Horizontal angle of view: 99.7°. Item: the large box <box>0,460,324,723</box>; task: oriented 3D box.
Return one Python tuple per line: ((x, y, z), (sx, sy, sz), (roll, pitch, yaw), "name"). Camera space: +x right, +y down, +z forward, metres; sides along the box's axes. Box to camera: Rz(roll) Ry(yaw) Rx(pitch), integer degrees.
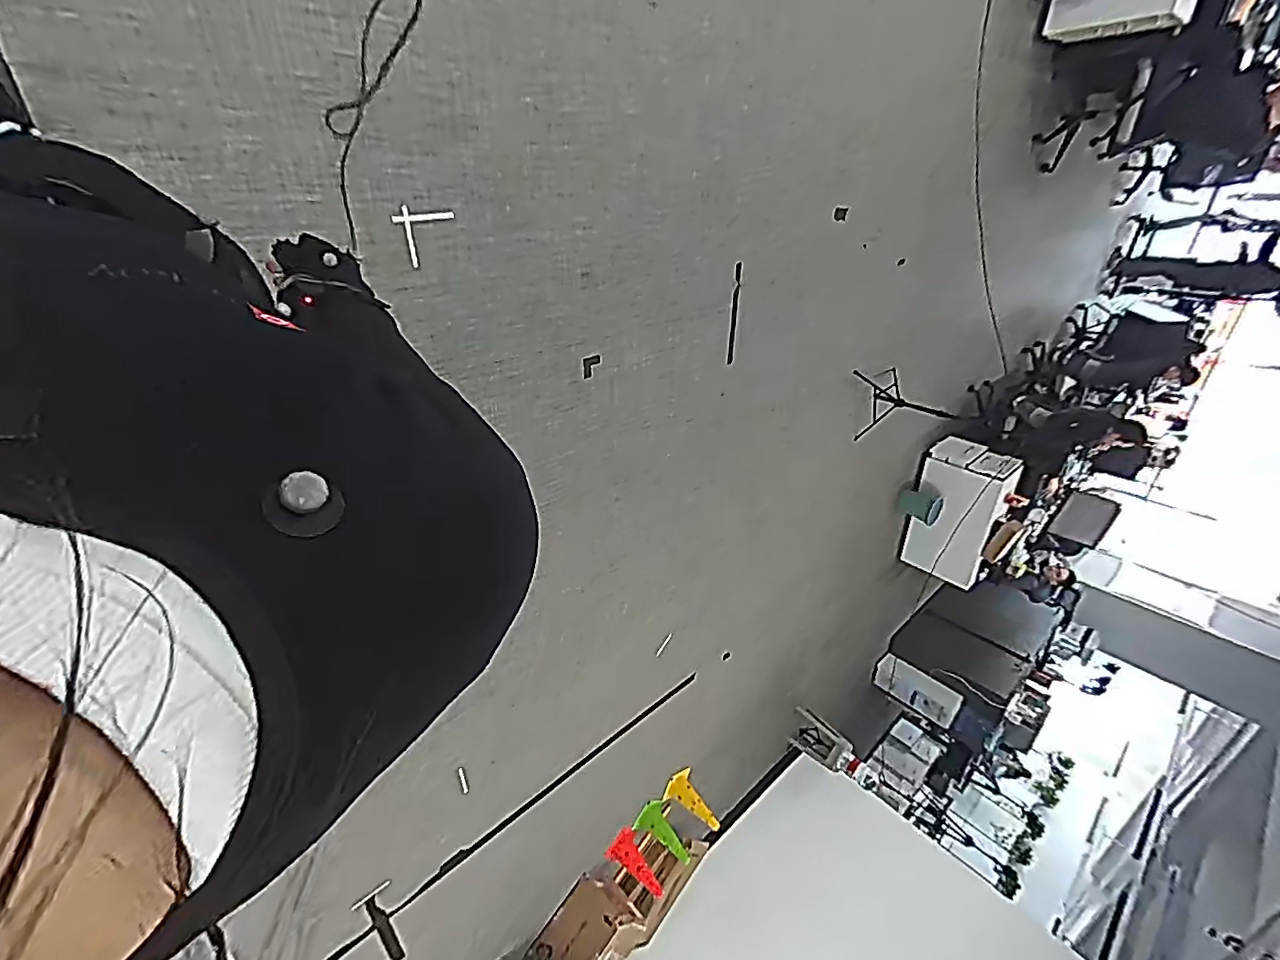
((-0.950, 0.196, 1.125), (0.408, 0.320, 0.320), (-22, 124, -34), "large box")
